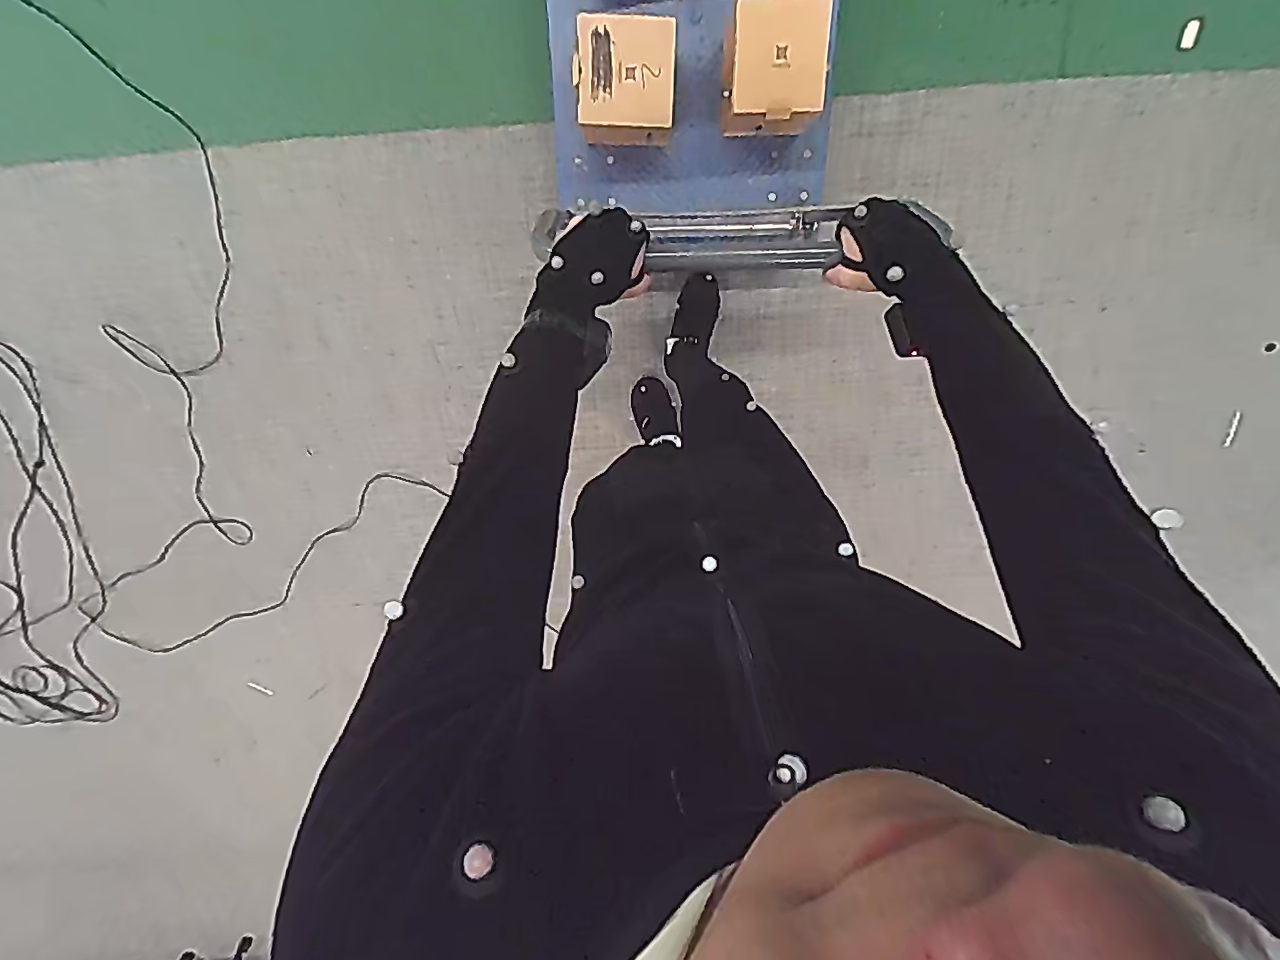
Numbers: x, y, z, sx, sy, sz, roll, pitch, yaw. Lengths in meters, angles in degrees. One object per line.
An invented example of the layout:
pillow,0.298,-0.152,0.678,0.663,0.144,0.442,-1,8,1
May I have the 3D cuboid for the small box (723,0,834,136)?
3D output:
small box,0.253,-0.778,1.031,0.168,0.176,0.179,-1,112,1
